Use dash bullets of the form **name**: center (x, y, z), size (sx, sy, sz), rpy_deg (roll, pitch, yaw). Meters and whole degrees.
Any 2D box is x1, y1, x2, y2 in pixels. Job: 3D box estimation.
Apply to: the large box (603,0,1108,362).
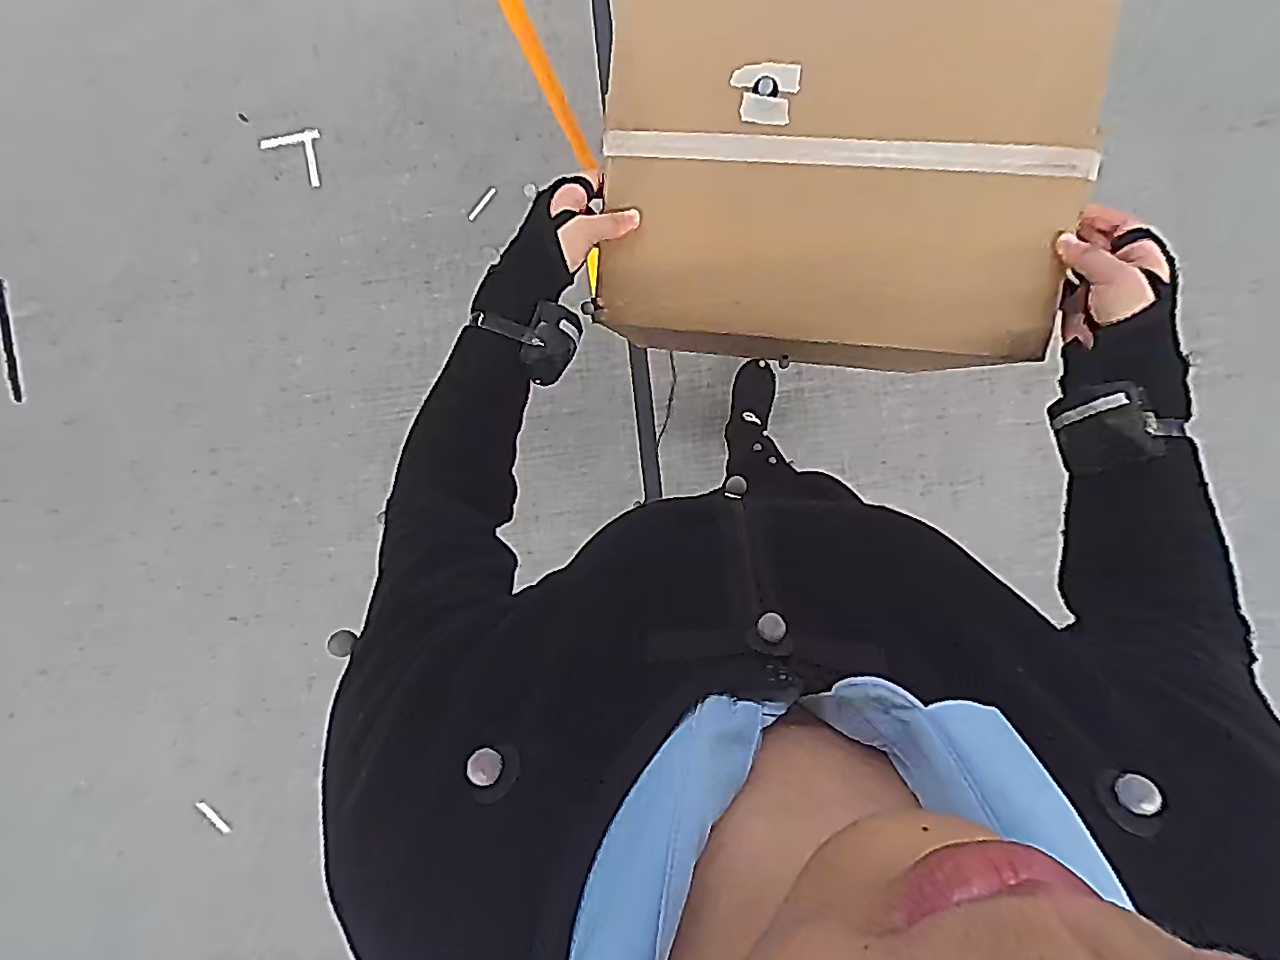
- **large box**: center (0.194, -0.310, 0.623), size (0.408, 0.320, 0.320), rpy_deg (6, 99, 8)
